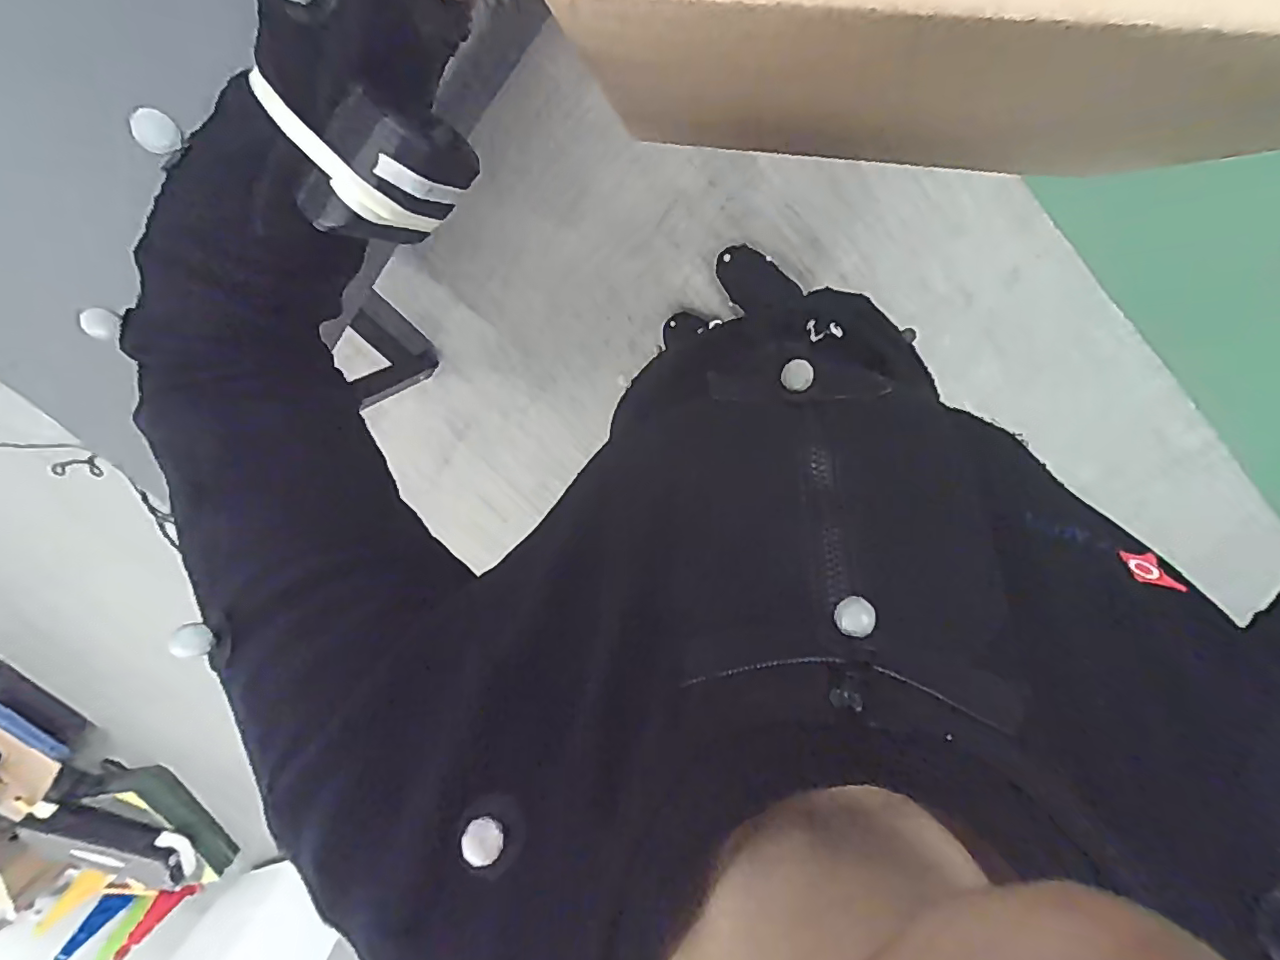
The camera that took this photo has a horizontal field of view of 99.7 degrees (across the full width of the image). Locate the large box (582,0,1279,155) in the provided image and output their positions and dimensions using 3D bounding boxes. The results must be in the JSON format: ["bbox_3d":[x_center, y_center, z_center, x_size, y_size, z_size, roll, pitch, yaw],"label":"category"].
[{"bbox_3d":[0.184,-0.367,0.258,0.408,0.320,0.320,6,114,2],"label":"large box"}]
